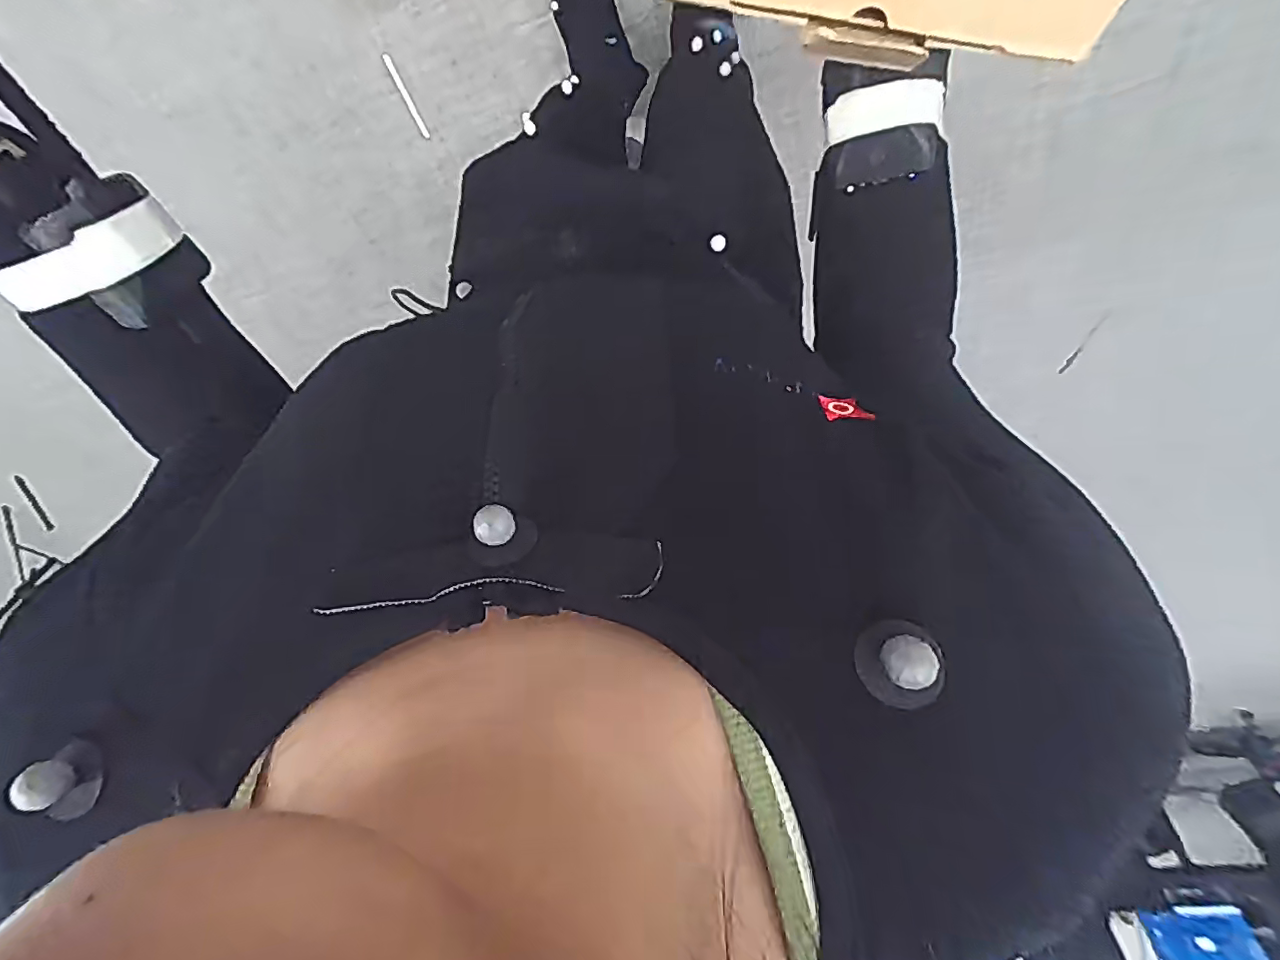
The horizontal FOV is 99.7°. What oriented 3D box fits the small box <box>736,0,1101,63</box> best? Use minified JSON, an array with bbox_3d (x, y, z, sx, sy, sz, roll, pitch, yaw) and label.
[{"bbox_3d":[0.099,-0.284,0.180,0.168,0.176,0.179,8,143,-3],"label":"small box"}]
